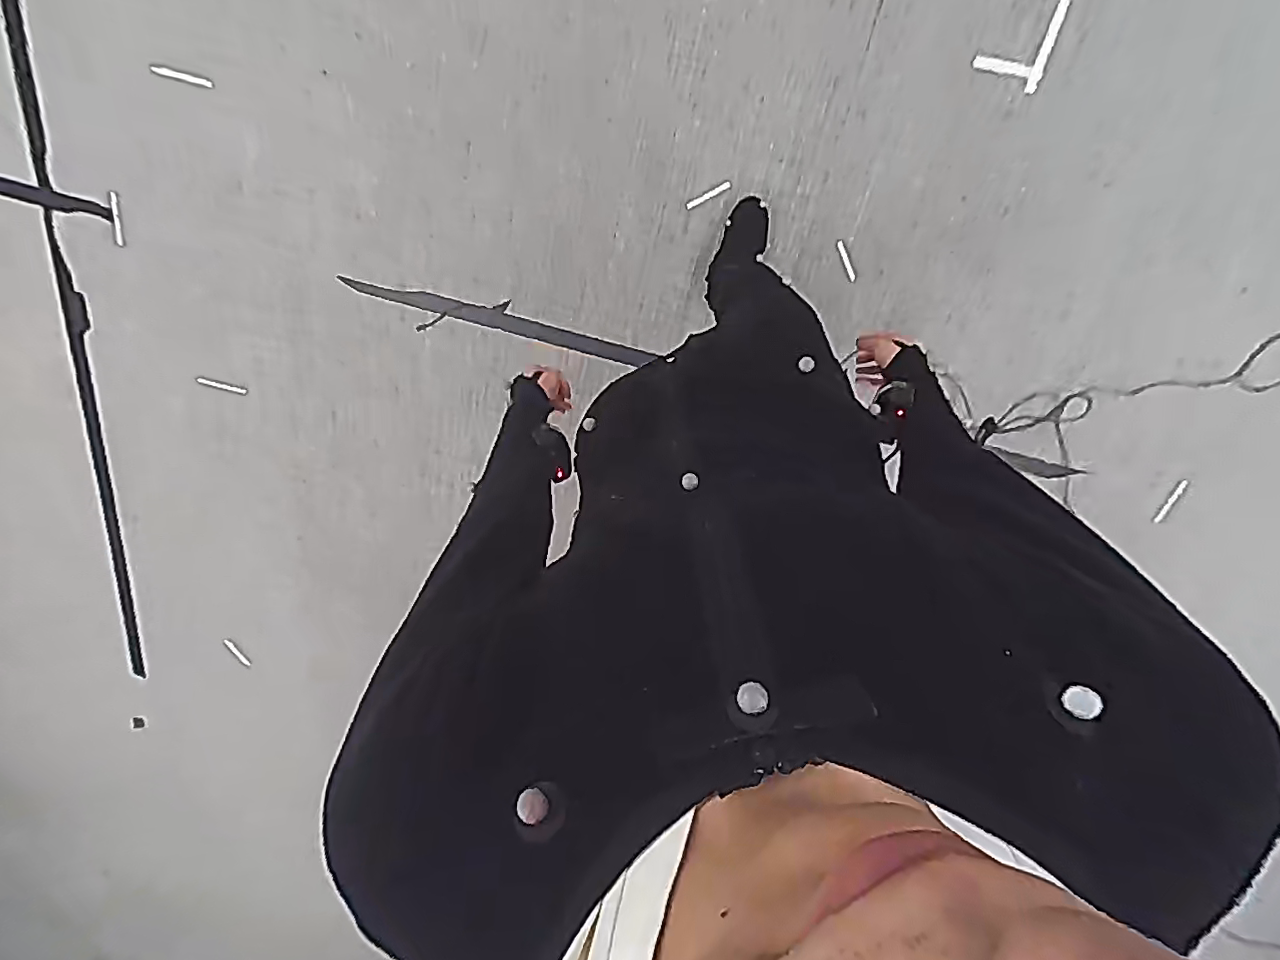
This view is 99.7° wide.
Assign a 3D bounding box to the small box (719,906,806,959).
[{"bbox_3d":[0.284,1.129,1.248,0.179,0.176,0.168,8,114,2],"label":"small box"}]
